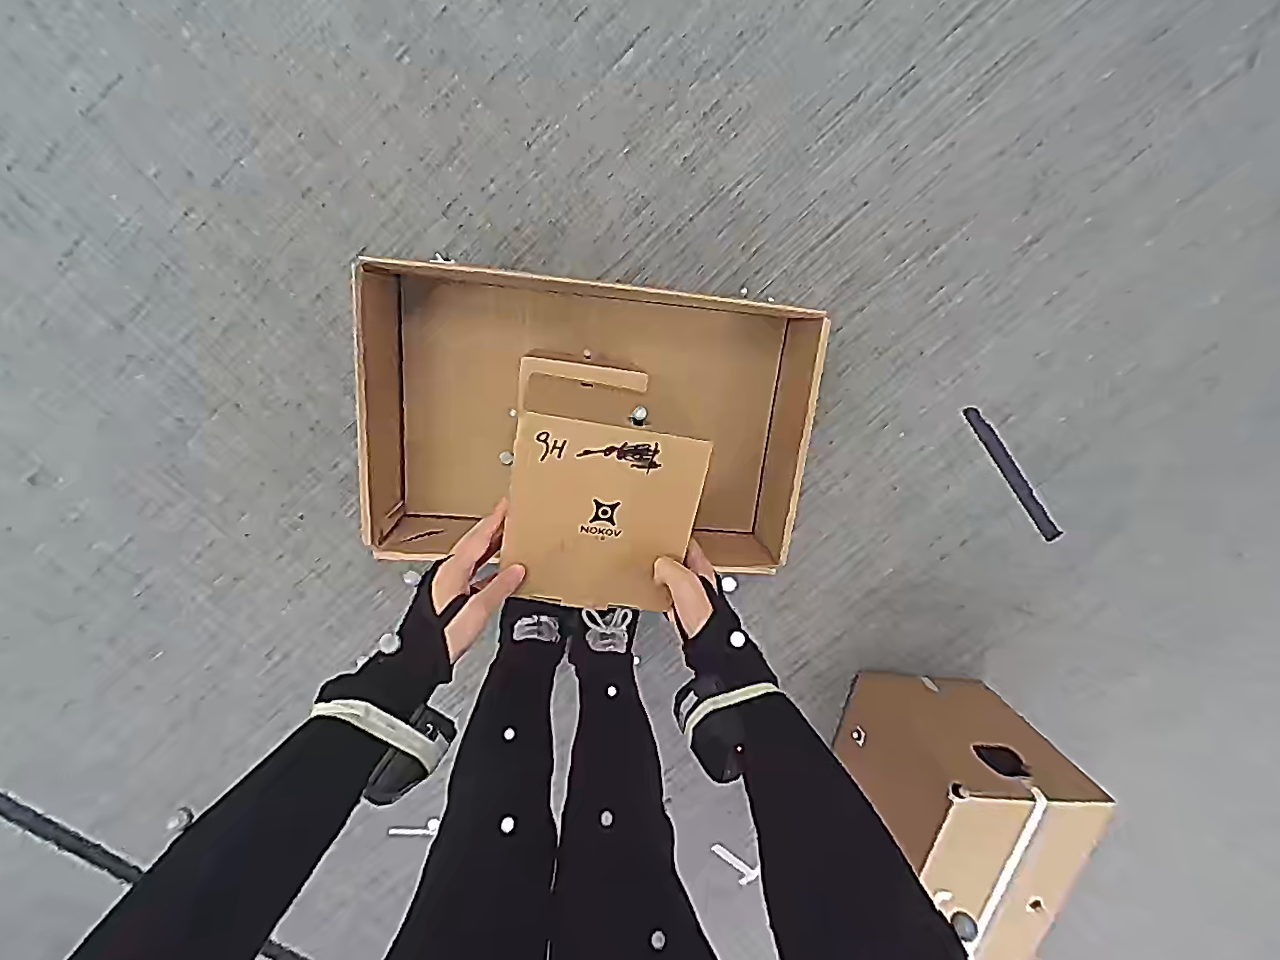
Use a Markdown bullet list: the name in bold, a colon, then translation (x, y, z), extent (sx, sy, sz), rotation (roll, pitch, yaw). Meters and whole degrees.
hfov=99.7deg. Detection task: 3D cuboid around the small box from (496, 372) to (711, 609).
- **small box**: translation (-0.045, 0.003, 0.550), extent (0.168, 0.176, 0.179), rotation (8, 111, -12)
